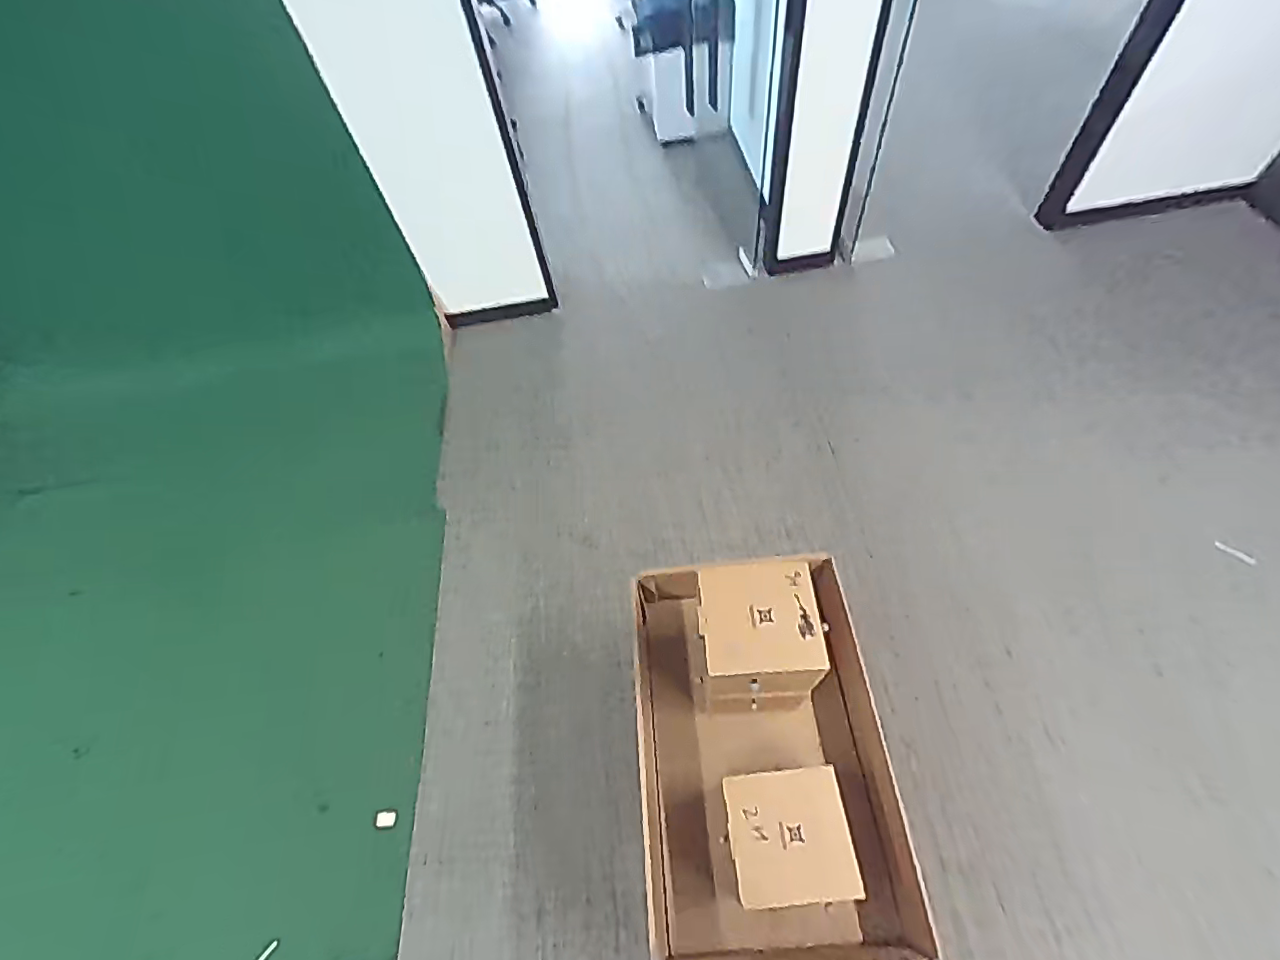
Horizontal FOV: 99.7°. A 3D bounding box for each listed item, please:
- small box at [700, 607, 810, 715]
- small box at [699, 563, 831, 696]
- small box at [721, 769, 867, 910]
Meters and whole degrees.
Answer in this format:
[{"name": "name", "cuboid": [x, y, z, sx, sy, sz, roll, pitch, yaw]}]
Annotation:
[{"name": "small box", "cuboid": [0.204, 0.338, 1.010, 0.179, 0.176, 0.168, -3, 57, 3]}, {"name": "small box", "cuboid": [0.191, 0.247, 0.874, 0.179, 0.176, 0.168, -4, 58, 4]}, {"name": "small box", "cuboid": [0.229, 0.563, 0.855, 0.179, 0.176, 0.168, -7, 56, 2]}]
